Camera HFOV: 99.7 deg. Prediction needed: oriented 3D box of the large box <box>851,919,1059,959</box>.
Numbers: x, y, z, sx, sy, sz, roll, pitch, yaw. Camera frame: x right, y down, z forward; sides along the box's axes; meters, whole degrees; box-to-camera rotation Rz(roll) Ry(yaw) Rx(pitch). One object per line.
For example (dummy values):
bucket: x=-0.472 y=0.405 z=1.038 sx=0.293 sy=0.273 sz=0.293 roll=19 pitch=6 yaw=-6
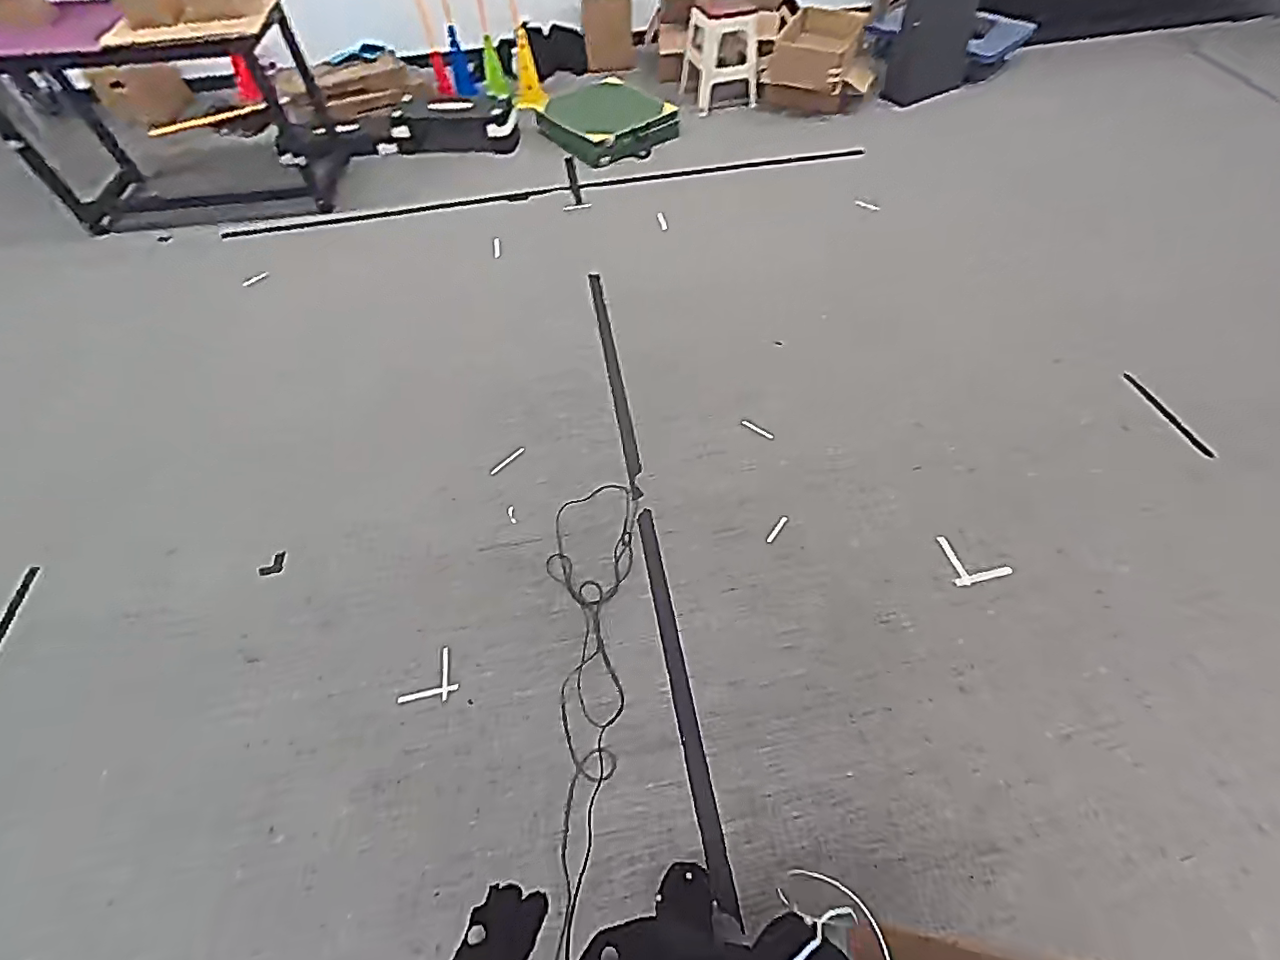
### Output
large box: x=0.486 y=0.747 z=0.618 sx=0.320 sy=0.408 sz=0.320 roll=13 pitch=56 yaw=0
